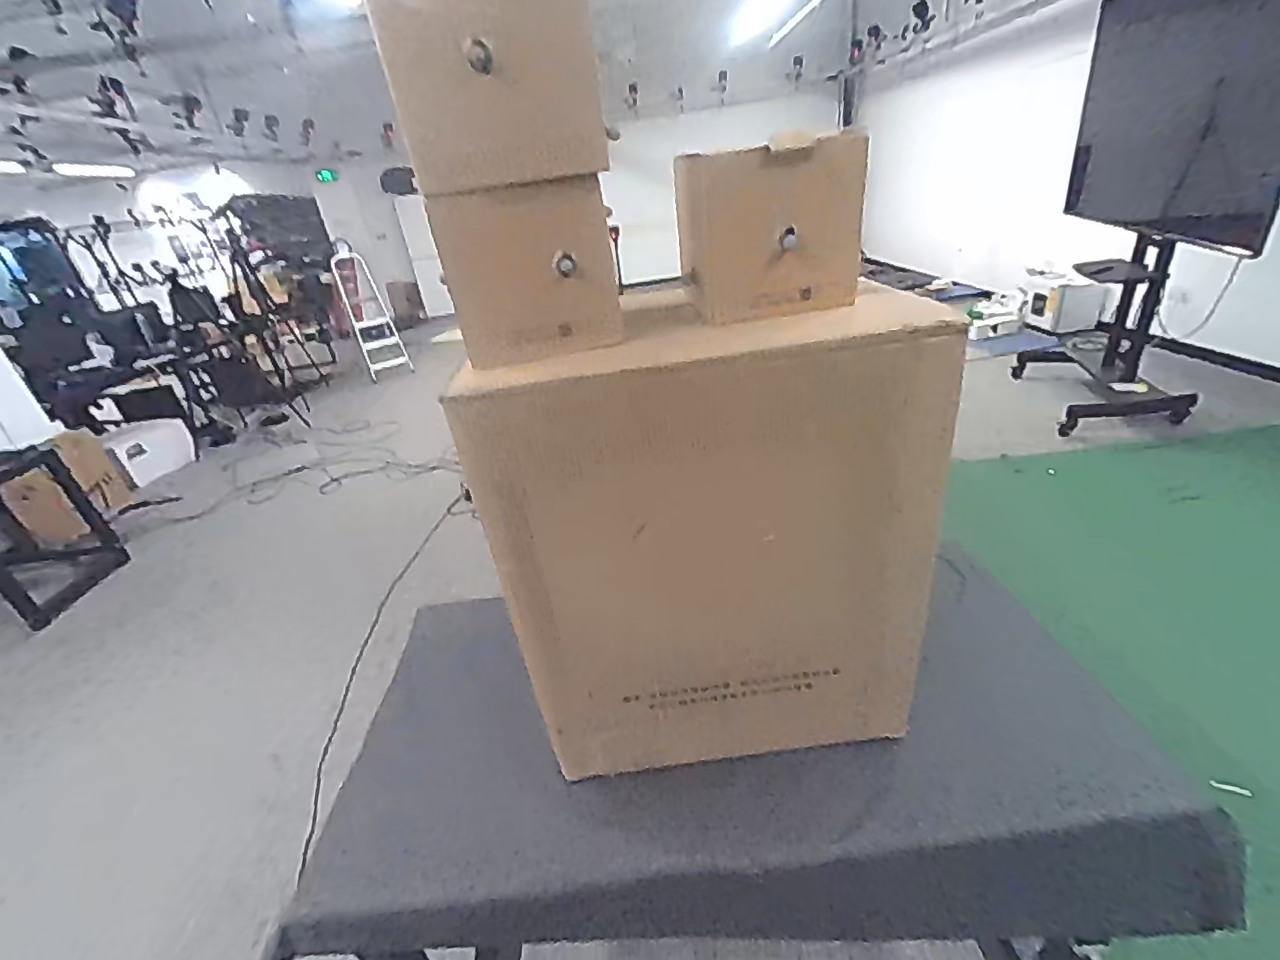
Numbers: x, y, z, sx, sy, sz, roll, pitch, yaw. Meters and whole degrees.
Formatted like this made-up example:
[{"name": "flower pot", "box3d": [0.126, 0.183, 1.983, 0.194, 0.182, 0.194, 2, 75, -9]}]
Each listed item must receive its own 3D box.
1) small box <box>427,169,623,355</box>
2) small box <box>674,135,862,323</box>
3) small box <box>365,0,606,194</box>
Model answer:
[{"name": "small box", "box3d": [-0.122, -0.251, 0.610, 0.168, 0.176, 0.179, -13, 32, -7]}, {"name": "small box", "box3d": [0.141, -0.292, 0.636, 0.168, 0.176, 0.179, -10, 31, -2]}, {"name": "small box", "box3d": [-0.128, -0.374, 0.528, 0.179, 0.176, 0.168, -9, 30, 1]}]
